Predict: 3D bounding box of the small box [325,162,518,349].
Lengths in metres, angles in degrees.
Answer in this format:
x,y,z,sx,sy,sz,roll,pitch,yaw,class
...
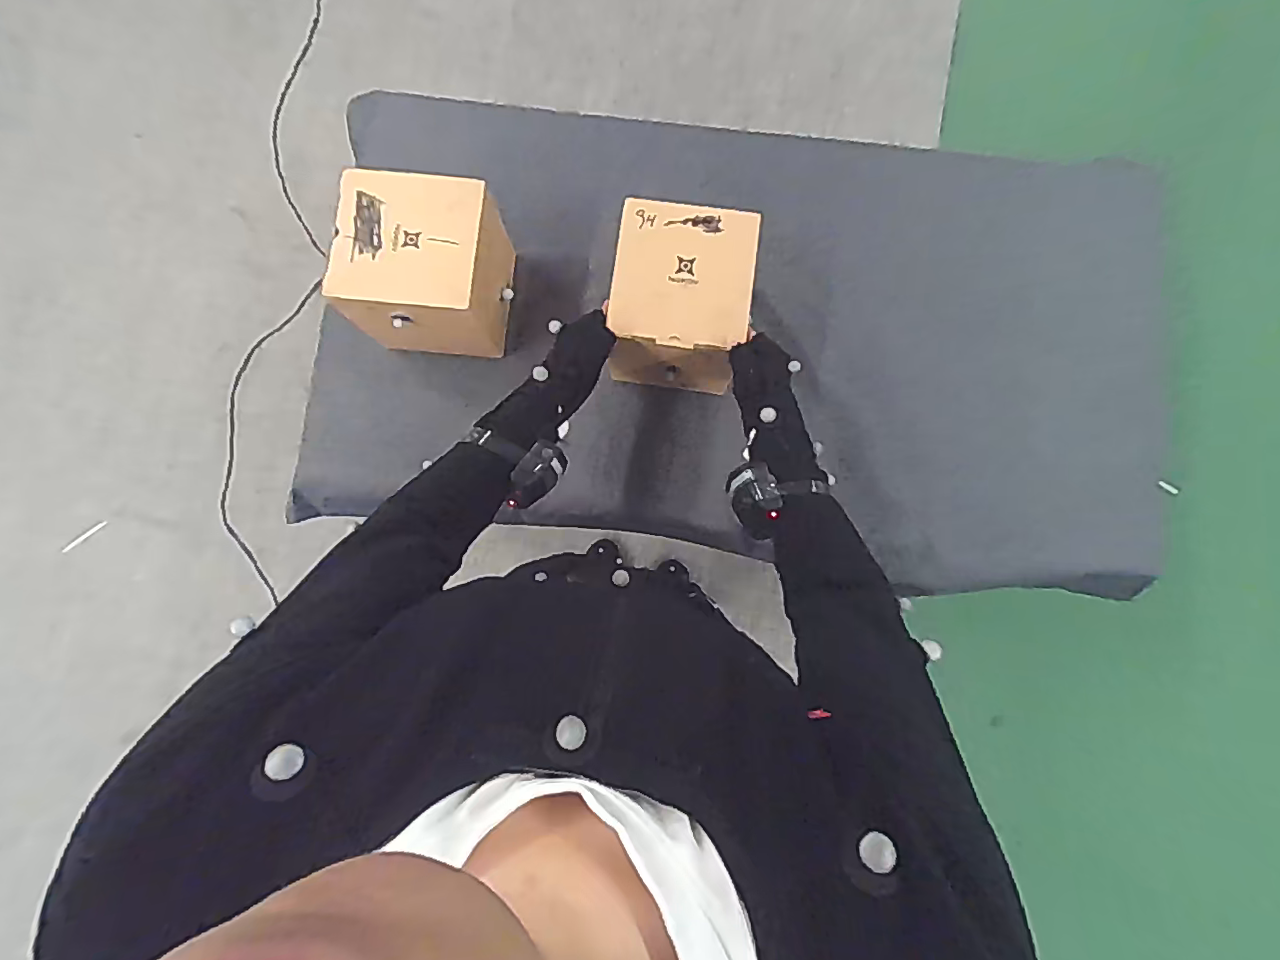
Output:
x,y,z,sx,sy,sz,roll,pitch,yaw,class
-0.274,-0.284,0.717,0.179,0.176,0.168,6,84,0,small box

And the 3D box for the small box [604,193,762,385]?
x,y,z,sx,sy,sz,roll,pitch,yaw,class
0.053,-0.236,0.710,0.168,0.176,0.179,8,83,2,small box
